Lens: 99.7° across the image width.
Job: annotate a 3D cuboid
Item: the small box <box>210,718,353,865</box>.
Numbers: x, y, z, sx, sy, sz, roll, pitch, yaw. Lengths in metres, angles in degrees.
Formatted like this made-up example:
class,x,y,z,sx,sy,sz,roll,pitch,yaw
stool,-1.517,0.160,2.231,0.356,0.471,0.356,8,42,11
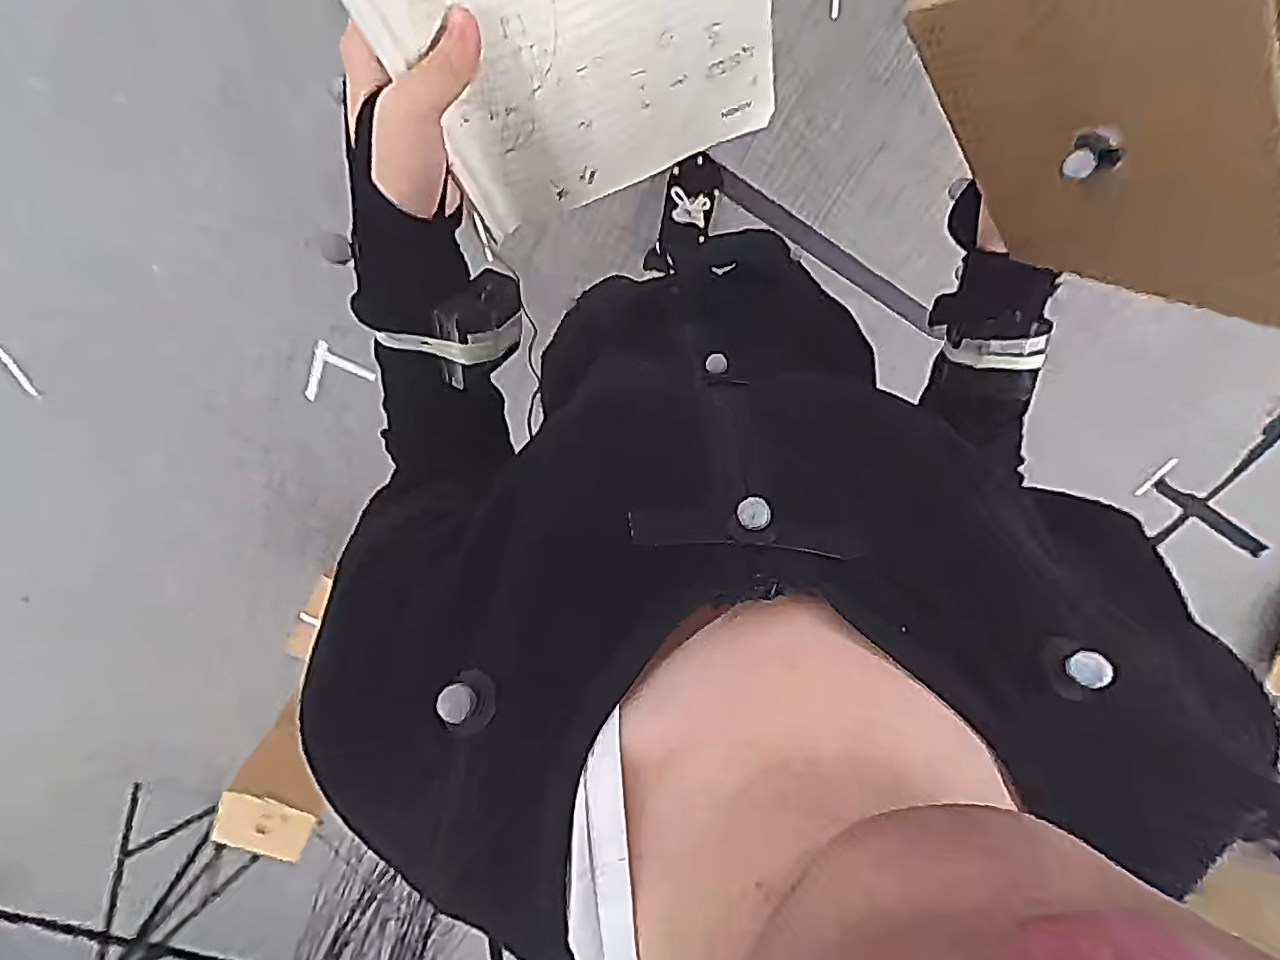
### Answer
class,x,y,z,sx,sy,sz,roll,pitch,yaw
small box,-0.708,0.620,1.083,0.168,0.176,0.179,26,114,-13

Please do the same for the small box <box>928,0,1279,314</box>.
class,x,y,z,sx,sy,sz,roll,pitch,yaw
small box,0.267,-0.205,0.224,0.168,0.176,0.179,-44,121,15

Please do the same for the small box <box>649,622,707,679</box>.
class,x,y,z,sx,sy,sz,roll,pitch,yaw
small box,0.129,0.588,1.780,0.179,0.176,0.168,-7,117,6
